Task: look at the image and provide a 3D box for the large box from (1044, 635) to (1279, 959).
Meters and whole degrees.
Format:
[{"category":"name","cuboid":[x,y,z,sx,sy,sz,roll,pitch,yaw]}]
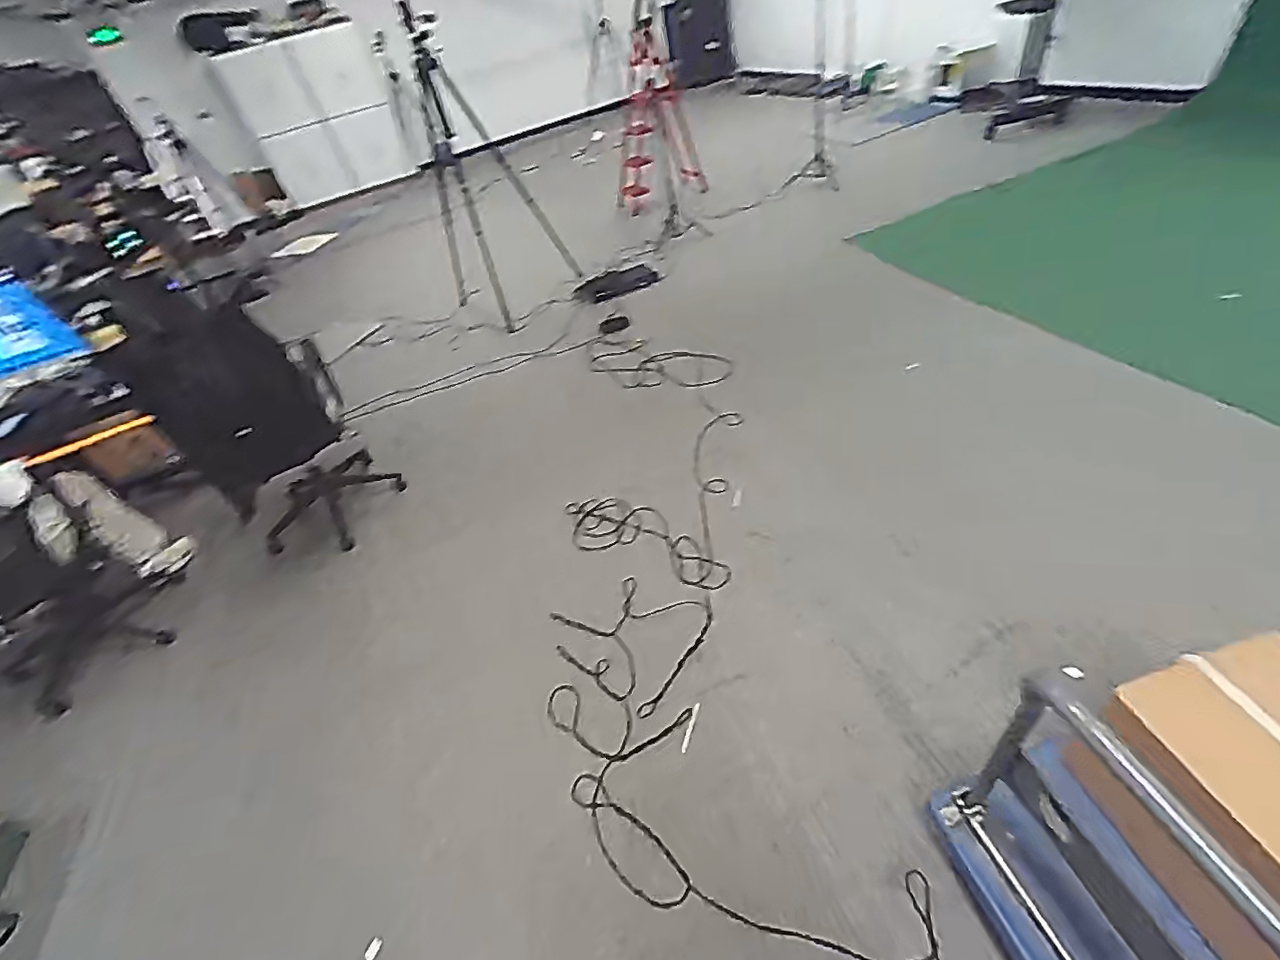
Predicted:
[{"category":"large box","cuboid":[1.022,0.552,0.920,0.320,0.320,0.408,-19,43,-3]}]
